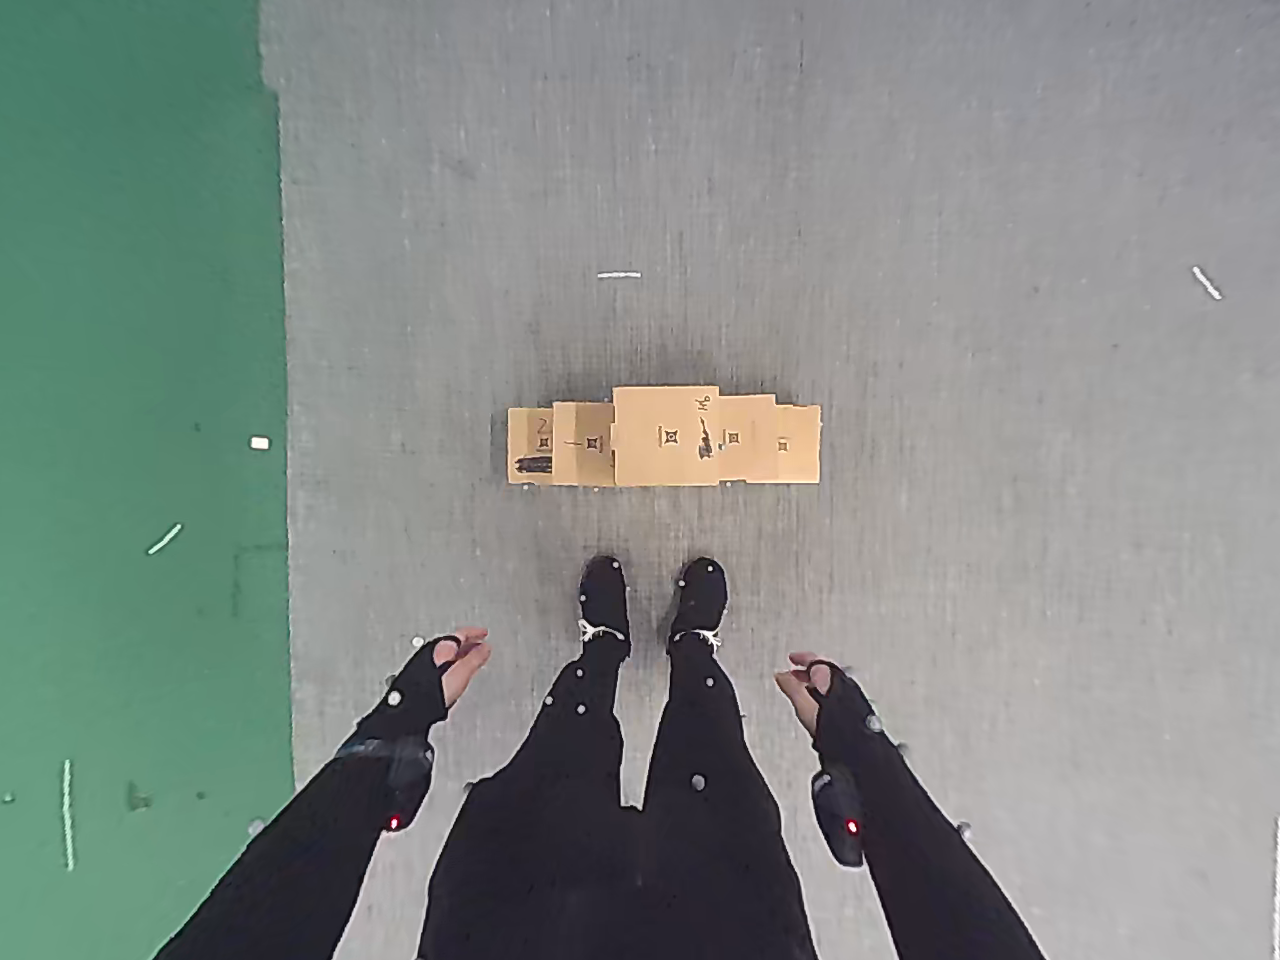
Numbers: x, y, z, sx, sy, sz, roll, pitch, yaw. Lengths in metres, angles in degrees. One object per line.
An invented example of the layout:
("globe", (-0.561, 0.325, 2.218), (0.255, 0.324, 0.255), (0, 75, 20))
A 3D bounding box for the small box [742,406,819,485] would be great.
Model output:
("small box", (0.319, -0.080, 1.284), (0.168, 0.176, 0.179), (0, 91, 3))

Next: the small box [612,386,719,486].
("small box", (0.046, -0.074, 0.966), (0.179, 0.176, 0.168), (0, 92, 3))

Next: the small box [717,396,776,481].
("small box", (0.177, -0.081, 1.126), (0.179, 0.176, 0.168), (-2, 92, 1))

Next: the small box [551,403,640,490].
("small box", (-0.082, -0.069, 1.135), (0.179, 0.176, 0.168), (2, 92, 3))
